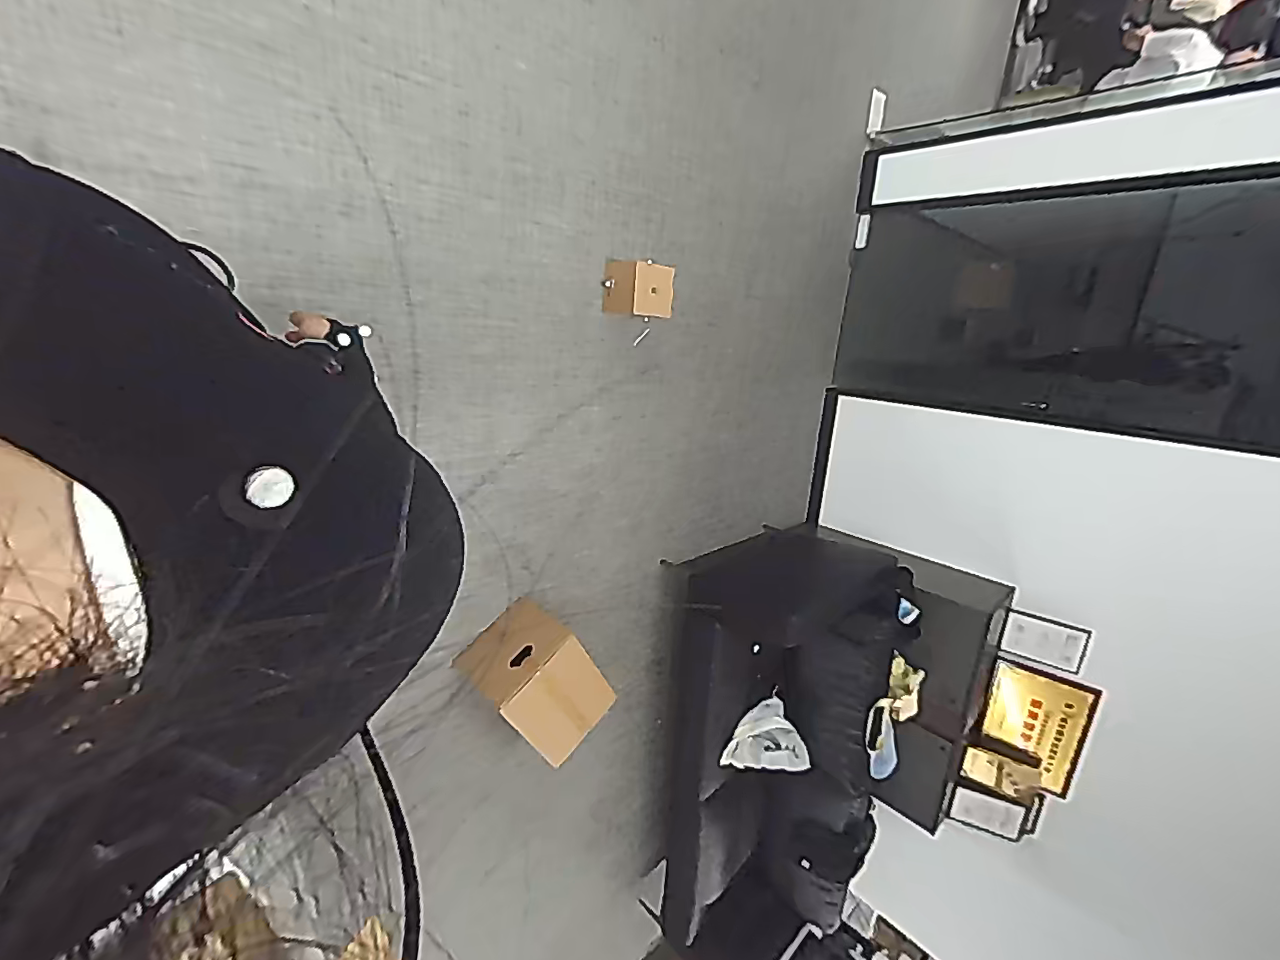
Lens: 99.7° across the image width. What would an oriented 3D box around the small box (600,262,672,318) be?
[{"bbox_3d":[-0.015,-0.651,1.856,0.179,0.176,0.168,-11,111,-41],"label":"small box"}]
